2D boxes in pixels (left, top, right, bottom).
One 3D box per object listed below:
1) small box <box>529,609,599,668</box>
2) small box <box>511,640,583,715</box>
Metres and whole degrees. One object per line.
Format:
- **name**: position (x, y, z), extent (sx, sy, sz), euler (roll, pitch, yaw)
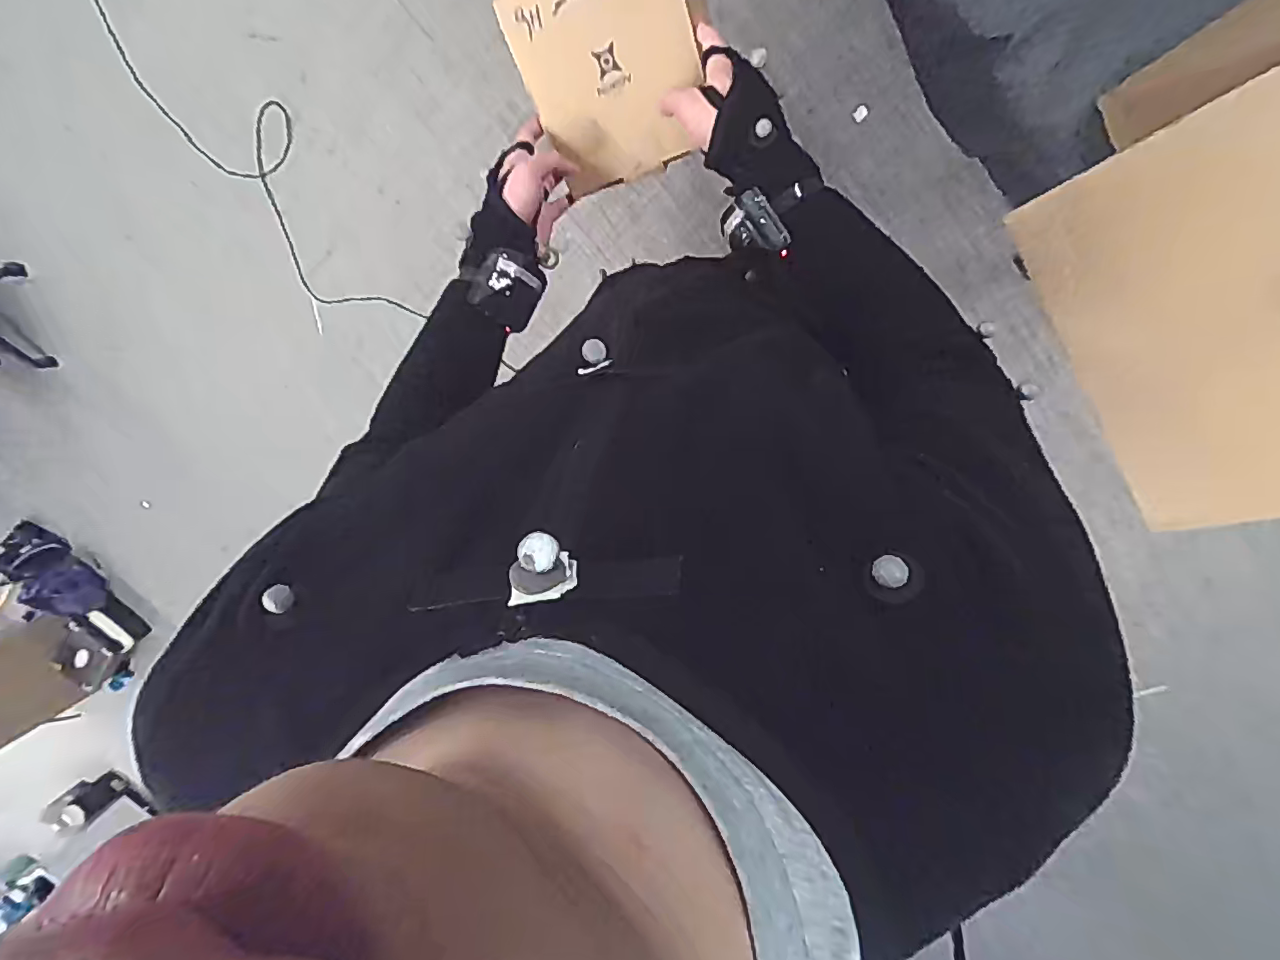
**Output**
- **small box**: position (-0.288, 0.635, 2.094), extent (0.179, 0.176, 0.168), euler (-35, 104, 30)
- **small box**: position (-0.327, 0.711, 1.956), extent (0.179, 0.176, 0.168), euler (-33, 104, 31)
